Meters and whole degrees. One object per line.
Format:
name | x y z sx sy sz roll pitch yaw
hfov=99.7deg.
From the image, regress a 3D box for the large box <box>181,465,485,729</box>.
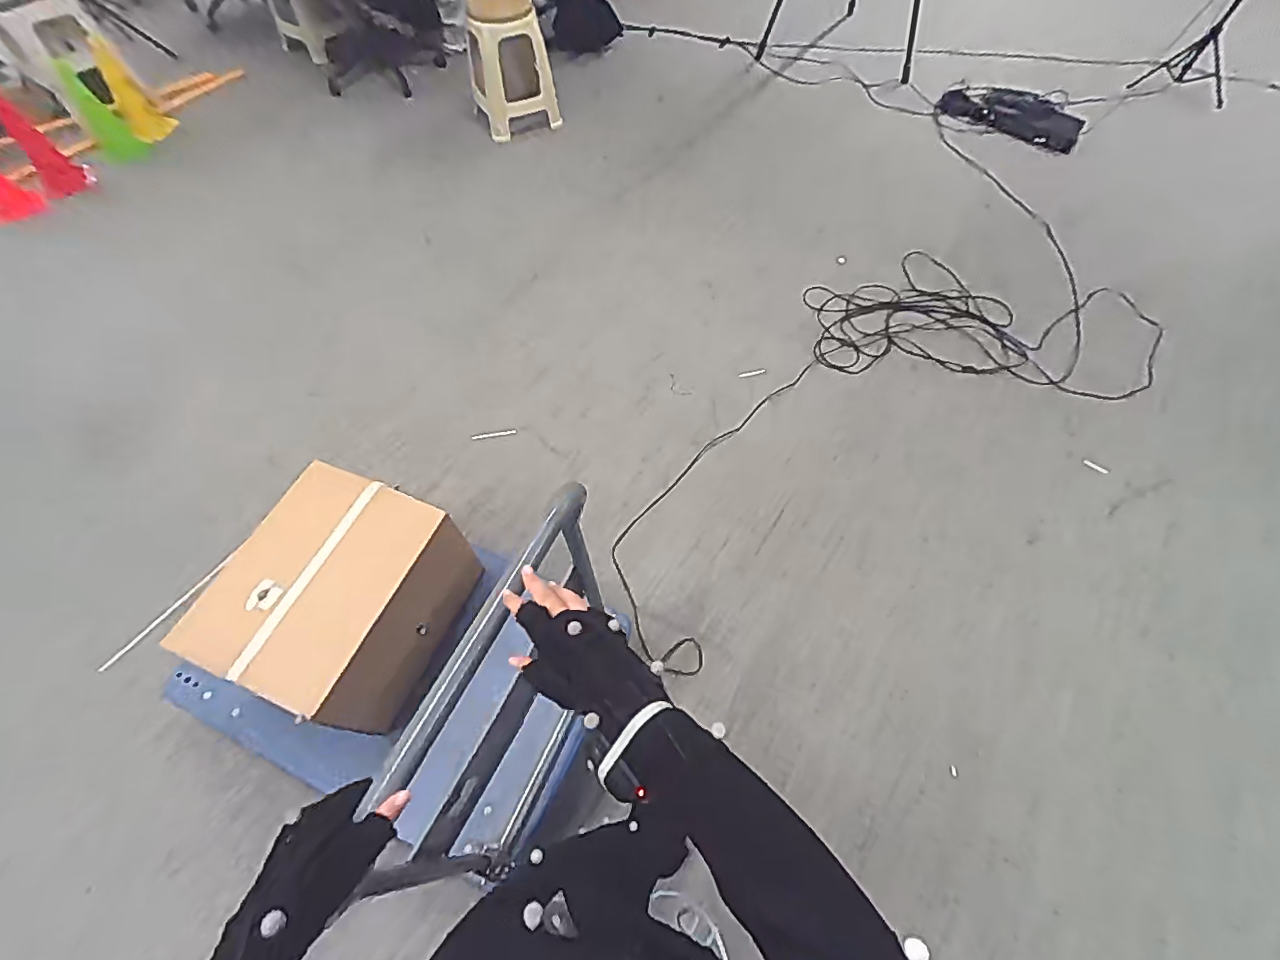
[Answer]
large box | -0.580 0.246 1.120 0.320 0.320 0.408 19 63 11
